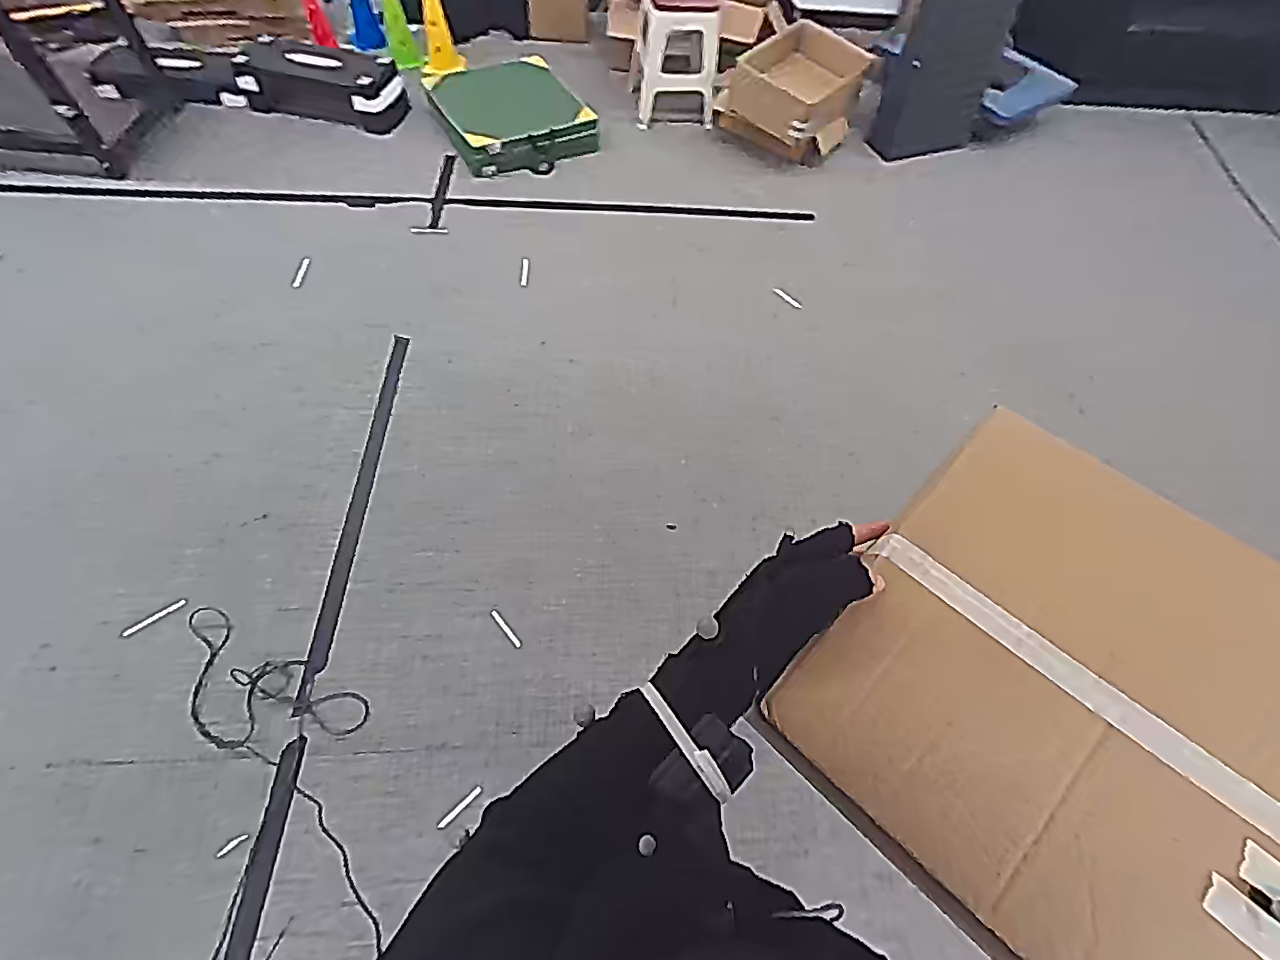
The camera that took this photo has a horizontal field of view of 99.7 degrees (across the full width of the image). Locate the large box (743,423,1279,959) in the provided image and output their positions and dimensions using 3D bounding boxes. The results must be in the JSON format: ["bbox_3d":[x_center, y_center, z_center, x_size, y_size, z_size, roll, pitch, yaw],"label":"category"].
[{"bbox_3d":[0.349,0.228,0.486,0.408,0.320,0.320,39,78,21],"label":"large box"}]
